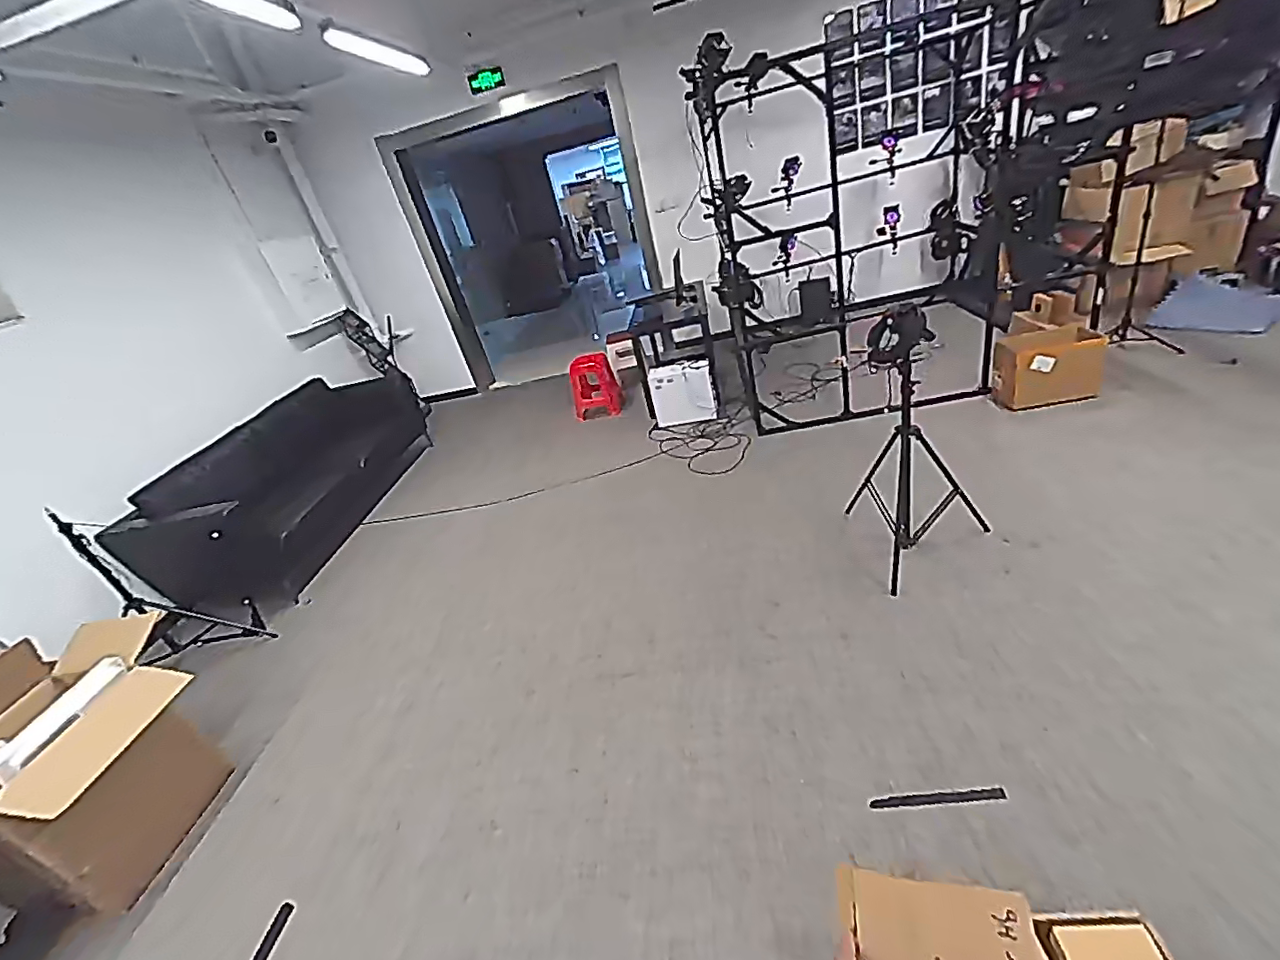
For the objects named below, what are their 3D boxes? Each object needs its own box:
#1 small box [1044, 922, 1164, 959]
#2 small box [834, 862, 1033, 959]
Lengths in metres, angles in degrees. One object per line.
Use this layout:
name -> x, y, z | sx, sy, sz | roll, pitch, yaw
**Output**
small box -> 0.918, 0.993, 1.042 | 0.168, 0.176, 0.179 | -11, 32, 11
small box -> 0.315, 0.540, 0.599 | 0.179, 0.176, 0.168 | 0, 54, 13
